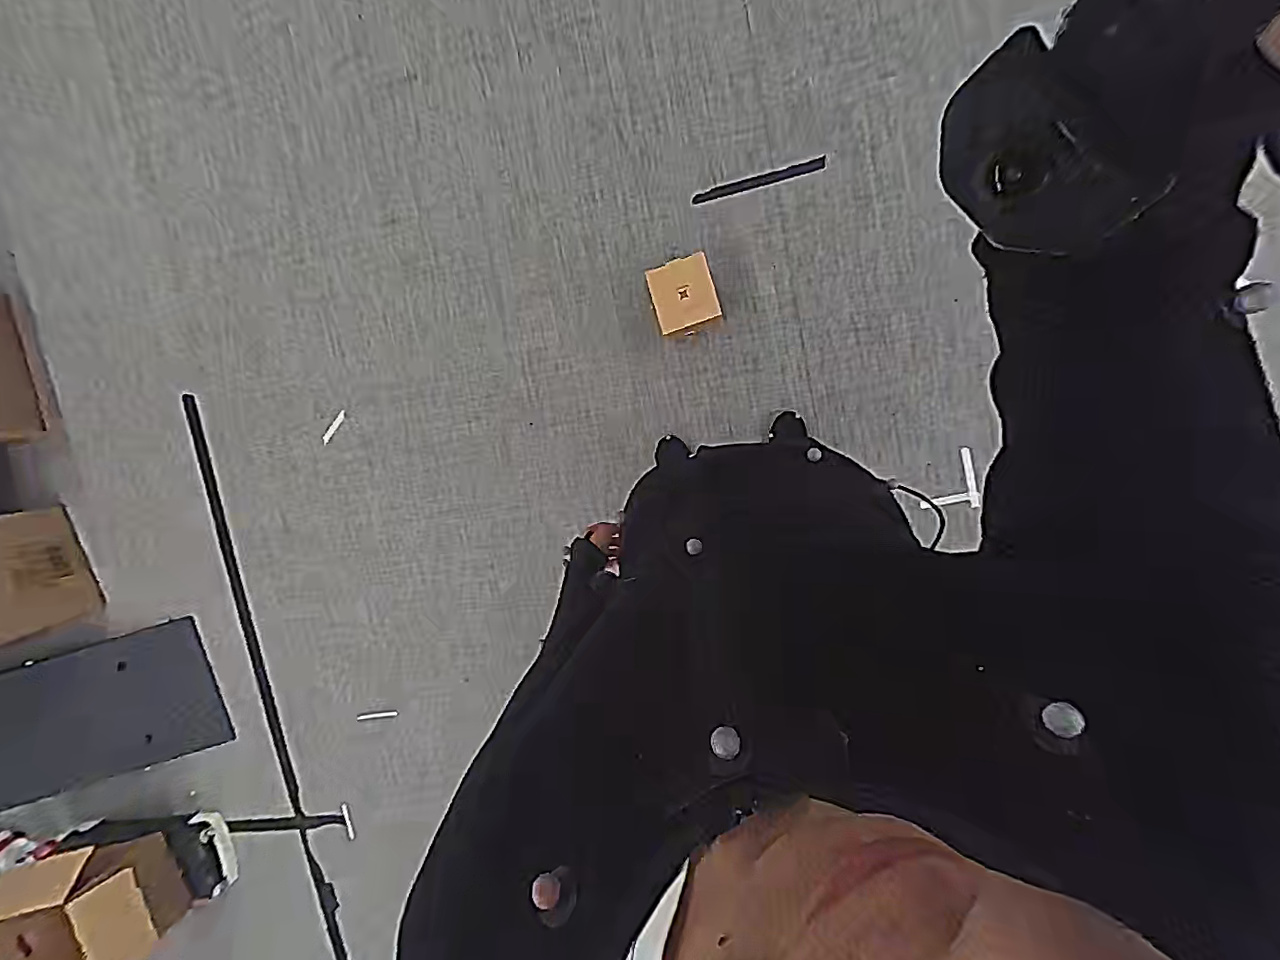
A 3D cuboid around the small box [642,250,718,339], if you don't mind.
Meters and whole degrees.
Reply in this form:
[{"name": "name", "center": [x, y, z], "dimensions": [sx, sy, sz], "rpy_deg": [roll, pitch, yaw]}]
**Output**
[{"name": "small box", "center": [0.116, -0.510, 1.510], "dimensions": [0.168, 0.176, 0.179], "rpy_deg": [-16, 95, 11]}]
